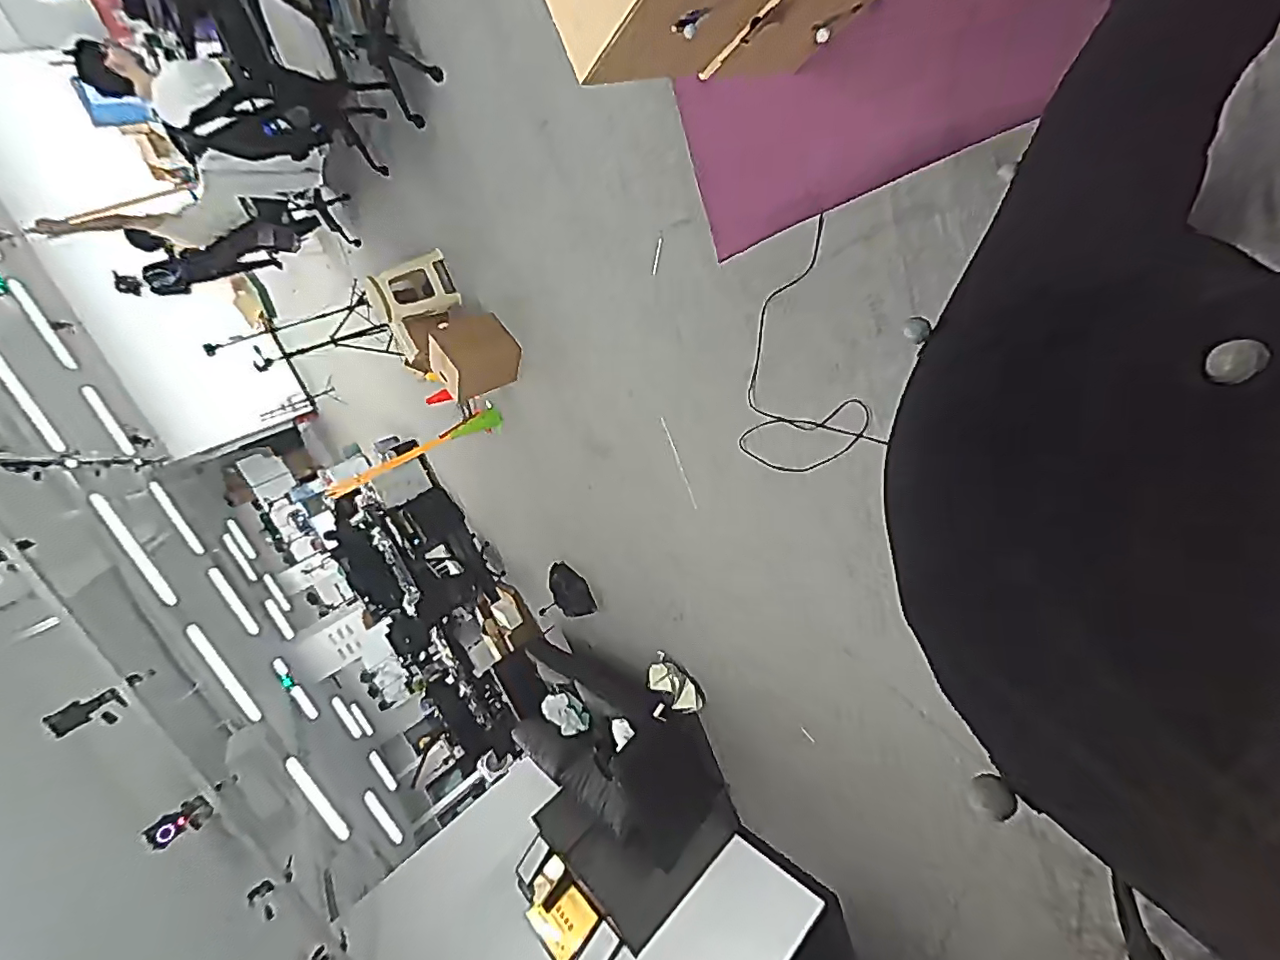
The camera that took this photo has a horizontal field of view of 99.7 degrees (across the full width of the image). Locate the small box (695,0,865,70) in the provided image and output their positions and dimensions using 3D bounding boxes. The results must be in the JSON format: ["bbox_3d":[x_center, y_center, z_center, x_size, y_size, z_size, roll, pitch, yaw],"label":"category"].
[{"bbox_3d":[0.137,-0.560,0.546,0.168,0.176,0.179,-4,114,57],"label":"small box"}]

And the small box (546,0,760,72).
[{"bbox_3d":[0.017,-0.487,0.455,0.179,0.176,0.168,-1,114,55],"label":"small box"}]
